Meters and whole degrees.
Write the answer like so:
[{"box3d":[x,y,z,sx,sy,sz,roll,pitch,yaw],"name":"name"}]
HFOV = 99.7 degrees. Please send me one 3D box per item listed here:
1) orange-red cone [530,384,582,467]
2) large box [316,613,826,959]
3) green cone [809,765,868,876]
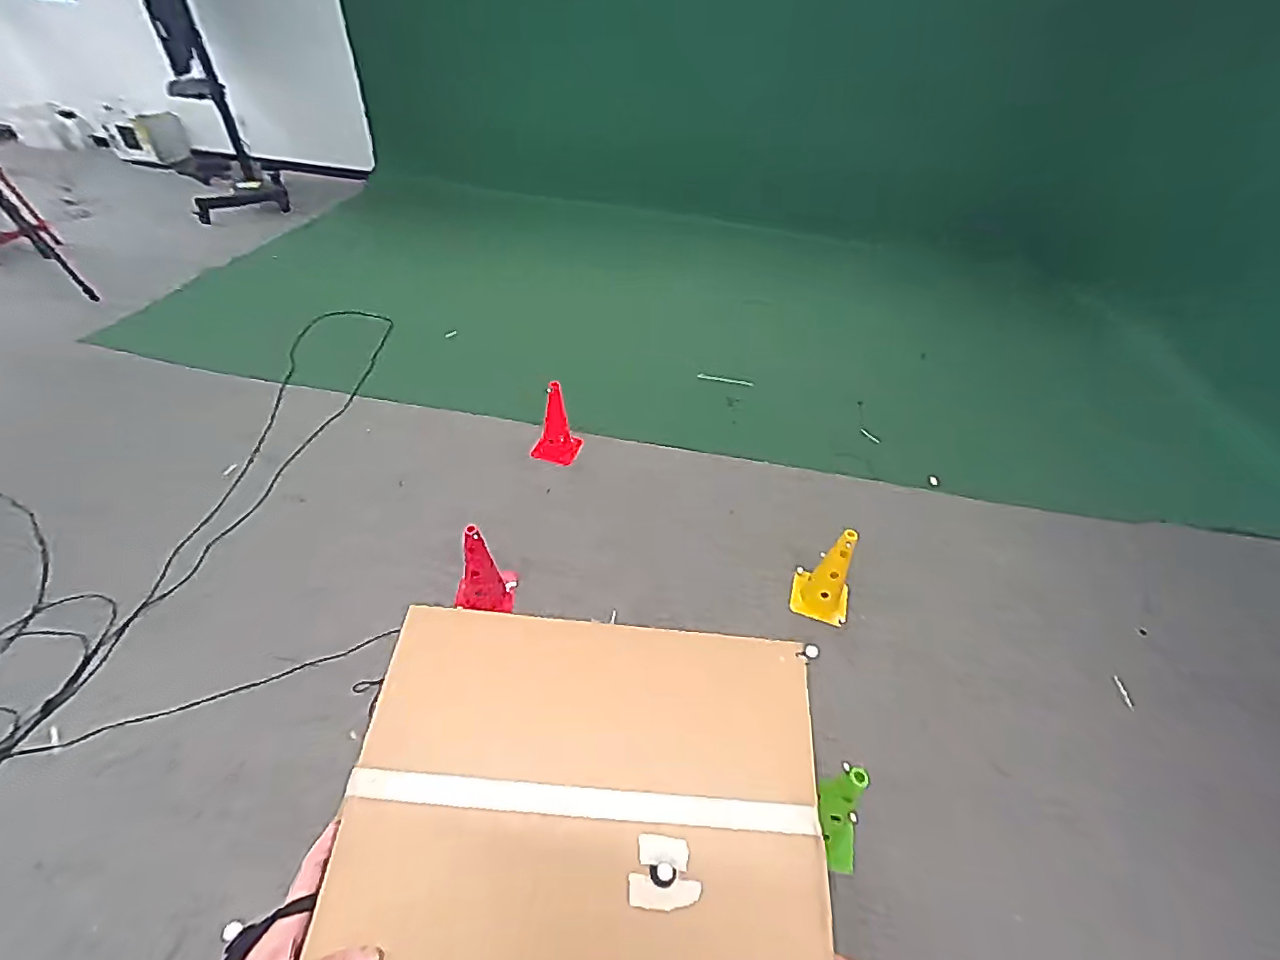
[{"box3d":[-0.378,-0.262,2.387,0.199,0.360,0.198,14,43,11],"name":"orange-red cone"},{"box3d":[-0.056,0.362,0.604,0.408,0.320,0.320,6,58,-2],"name":"large box"},{"box3d":[0.489,0.807,1.350,0.200,0.368,0.202,14,43,8],"name":"green cone"}]
